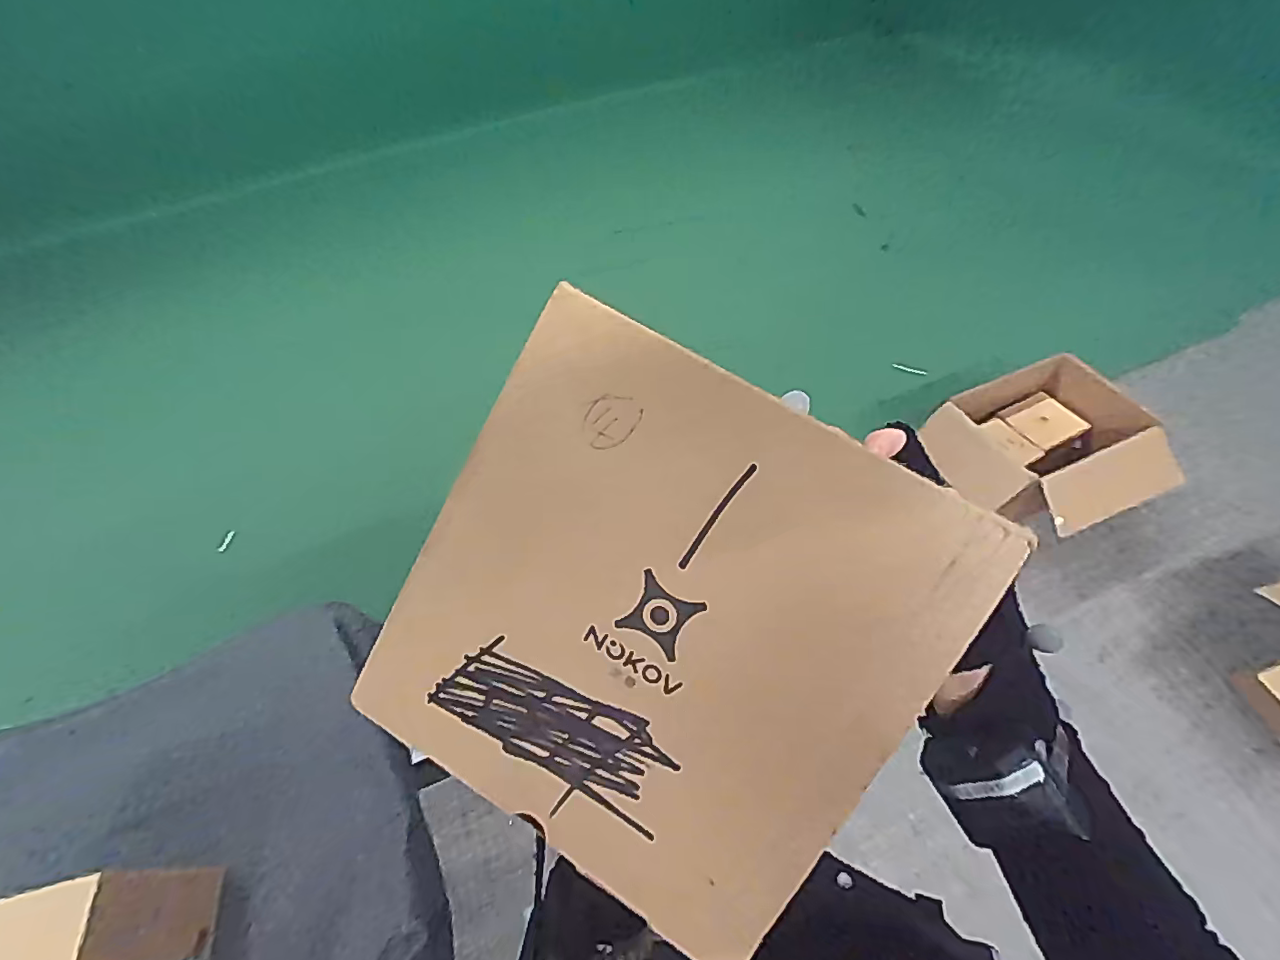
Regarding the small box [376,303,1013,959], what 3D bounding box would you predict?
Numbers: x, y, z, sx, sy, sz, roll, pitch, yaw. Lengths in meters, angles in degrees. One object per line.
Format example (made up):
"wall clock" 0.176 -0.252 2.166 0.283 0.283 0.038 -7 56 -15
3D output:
"small box" 0.021 0.049 0.264 0.168 0.176 0.179 31 99 9
